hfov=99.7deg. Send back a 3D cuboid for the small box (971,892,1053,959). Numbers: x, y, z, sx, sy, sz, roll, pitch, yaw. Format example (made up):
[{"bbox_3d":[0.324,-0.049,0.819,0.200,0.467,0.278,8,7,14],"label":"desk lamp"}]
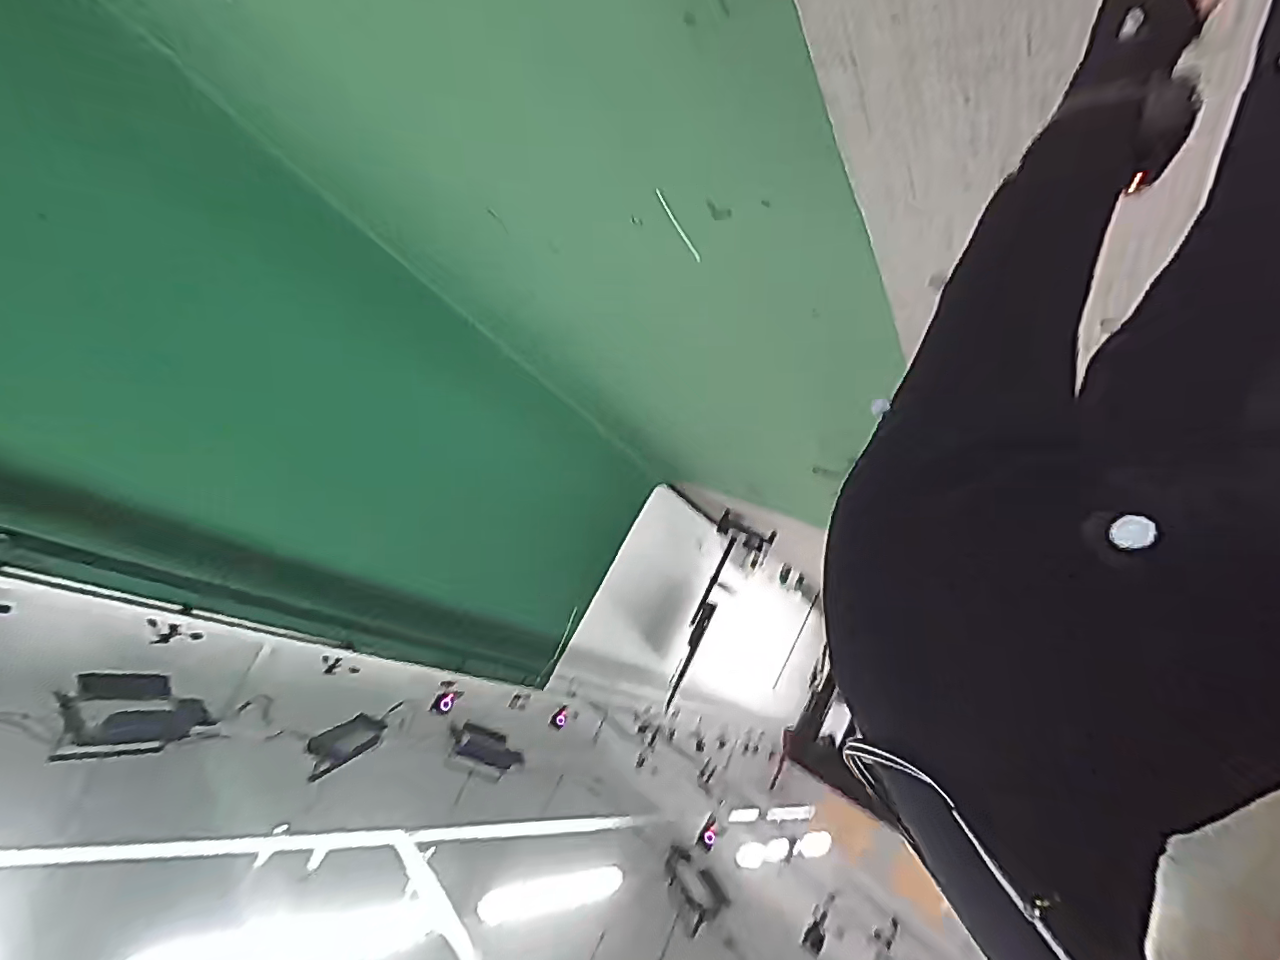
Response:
[{"bbox_3d":[1.146,1.419,1.667,0.168,0.176,0.179,21,169,41],"label":"small box"}]

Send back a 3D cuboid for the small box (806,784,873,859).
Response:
[{"bbox_3d":[0.760,1.282,2.039,0.179,0.176,0.168,20,168,42],"label":"small box"}]
